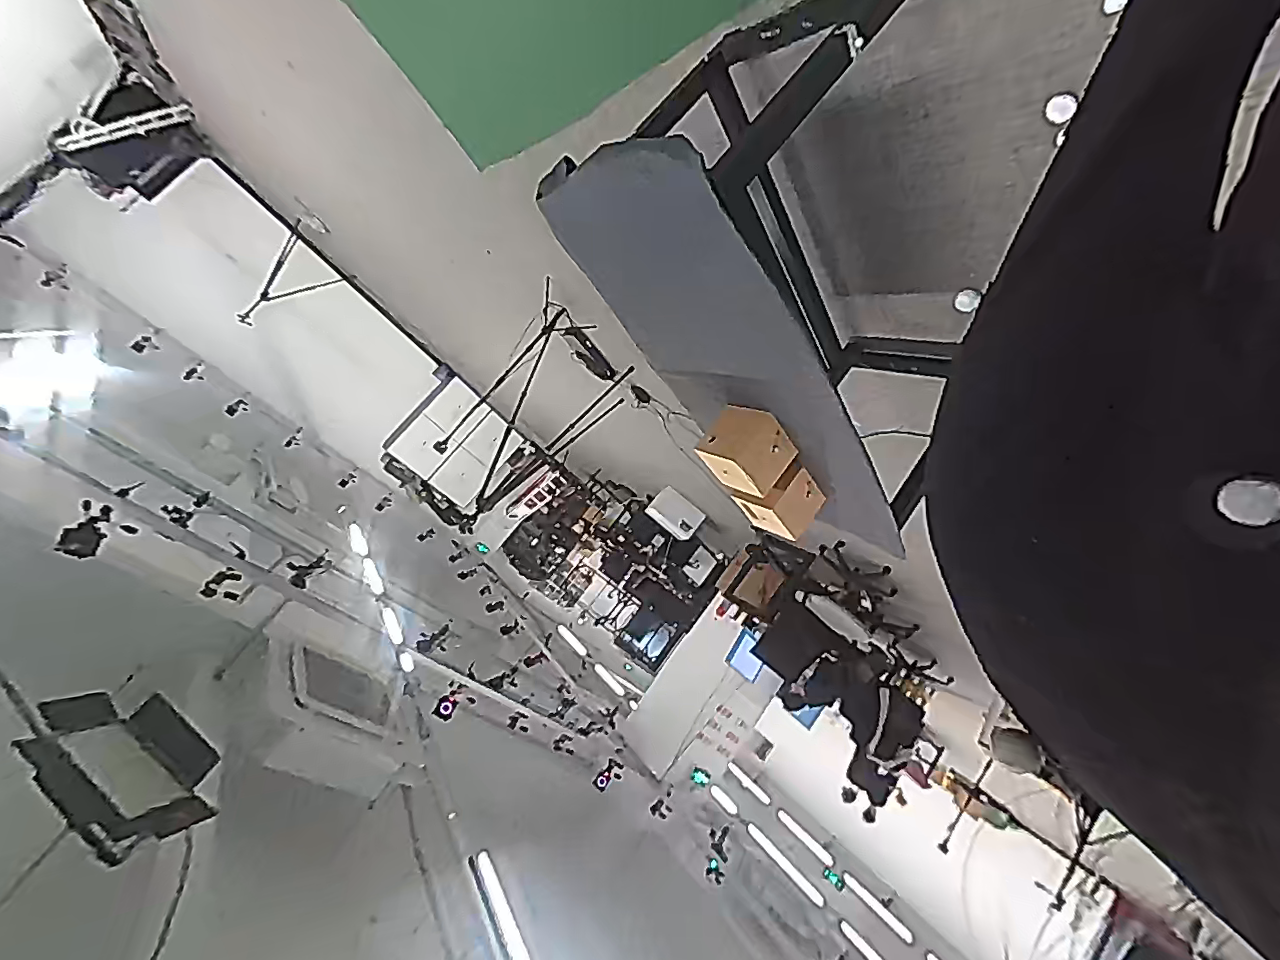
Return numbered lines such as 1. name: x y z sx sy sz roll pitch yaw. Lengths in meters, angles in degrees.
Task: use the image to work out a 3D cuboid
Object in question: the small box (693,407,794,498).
1. small box: 0.287 -0.081 1.488 0.168 0.176 0.179 46 167 -34
